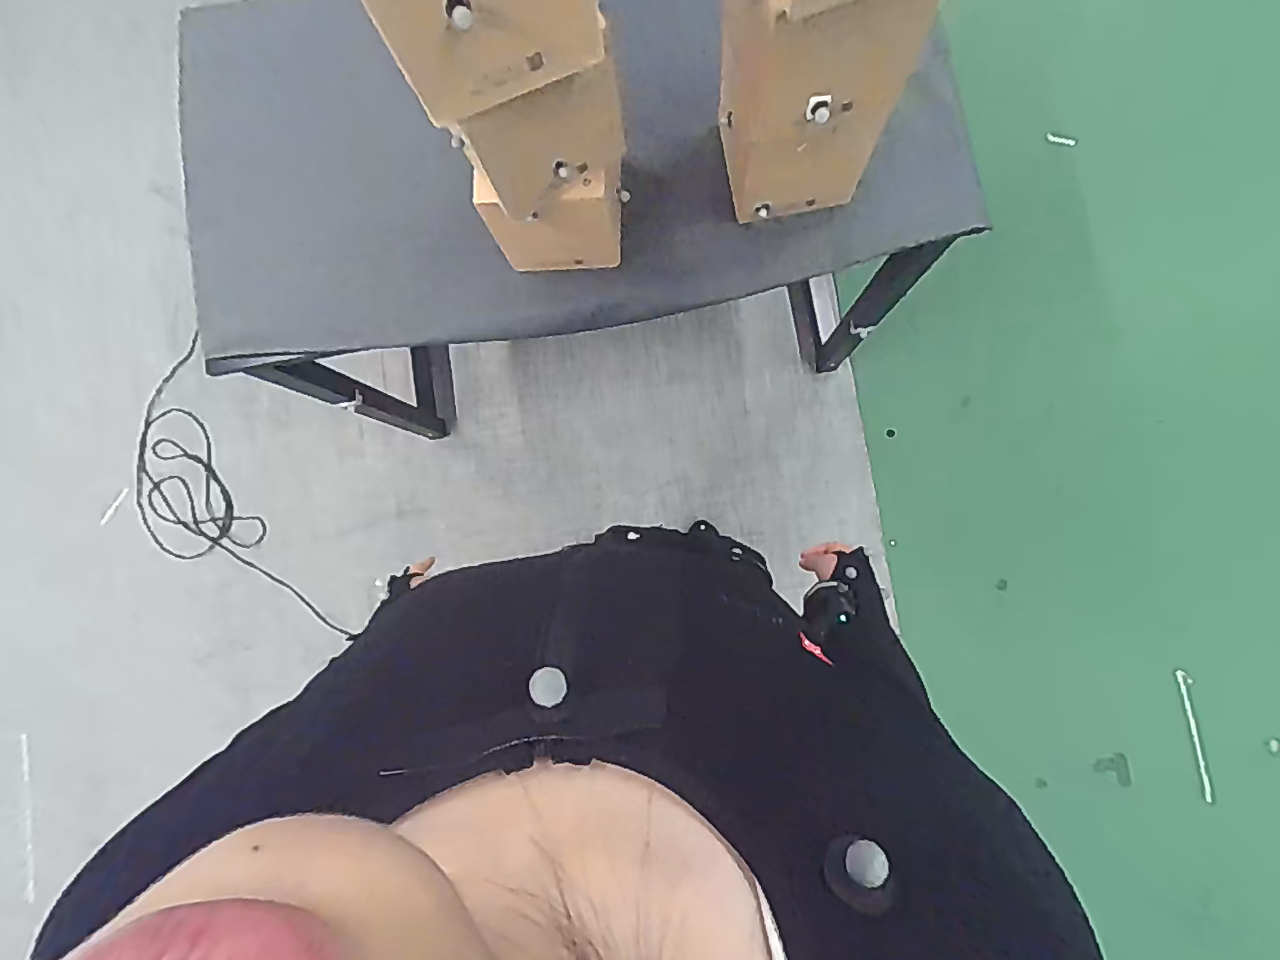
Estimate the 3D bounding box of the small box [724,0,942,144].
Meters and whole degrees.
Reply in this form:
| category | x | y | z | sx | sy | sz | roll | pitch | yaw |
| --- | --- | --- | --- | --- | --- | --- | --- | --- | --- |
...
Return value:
| category | x | y | z | sx | sy | sz | roll | pitch | yaw |
| --- | --- | --- | --- | --- | --- | --- | --- | --- | --- |
| small box | 0.188 | -0.502 | 0.564 | 0.168 | 0.176 | 0.179 | -13 | 83 | 5 |

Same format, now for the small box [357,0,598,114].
| category | x | y | z | sx | sy | sz | roll | pitch | yaw |
| --- | --- | --- | --- | --- | --- | --- | --- | --- | --- |
| small box | -0.144 | -0.430 | 0.418 | 0.168 | 0.176 | 0.179 | -22 | 83 | 2 |

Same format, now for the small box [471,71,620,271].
| category | x | y | z | sx | sy | sz | roll | pitch | yaw |
| --- | --- | --- | --- | --- | --- | --- | --- | --- | --- |
| small box | -0.119 | -0.412 | 0.745 | 0.168 | 0.176 | 0.179 | -1 | 83 | 4 |
